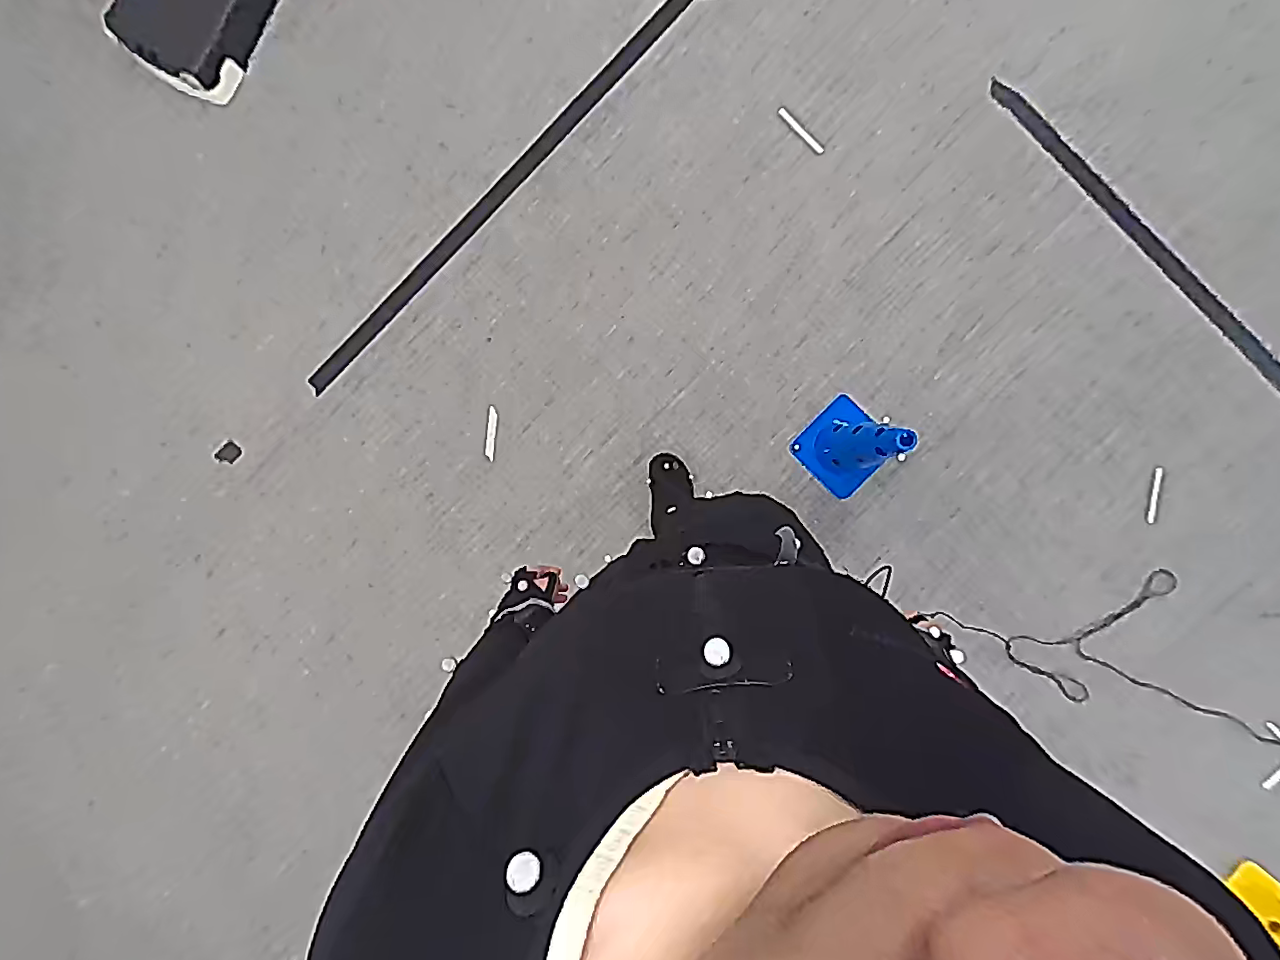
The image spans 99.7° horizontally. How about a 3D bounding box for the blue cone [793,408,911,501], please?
[{"bbox_3d":[0.496,-0.059,1.177,0.192,0.380,0.193,-44,89,3],"label":"blue cone"}]
